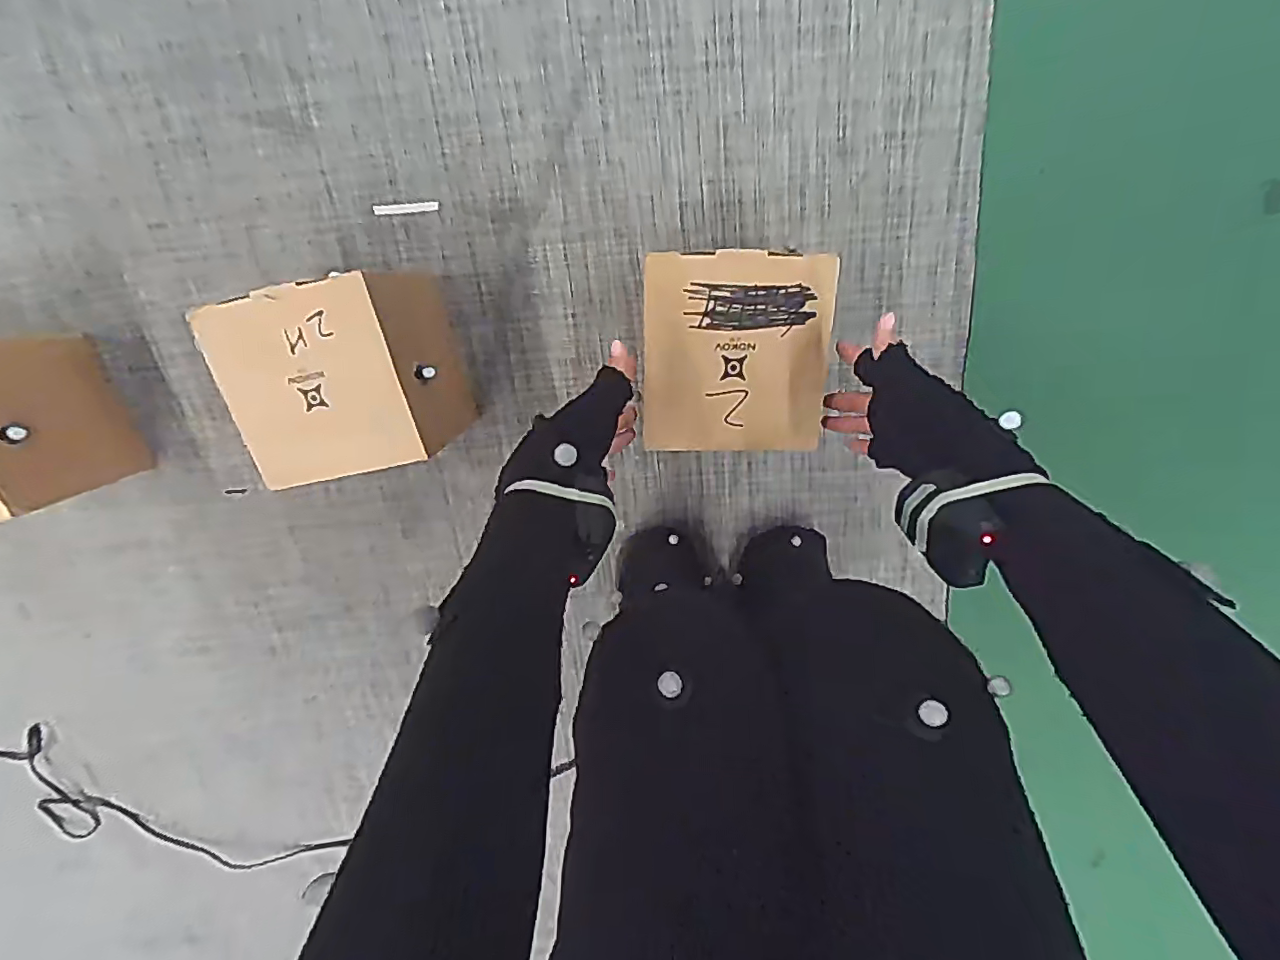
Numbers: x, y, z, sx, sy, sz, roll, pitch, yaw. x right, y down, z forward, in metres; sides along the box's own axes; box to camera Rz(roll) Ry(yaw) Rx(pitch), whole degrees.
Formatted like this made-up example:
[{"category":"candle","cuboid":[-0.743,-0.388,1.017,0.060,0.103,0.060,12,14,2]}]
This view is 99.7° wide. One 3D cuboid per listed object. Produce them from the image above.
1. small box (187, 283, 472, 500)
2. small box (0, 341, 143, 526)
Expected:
[{"category":"small box","cuboid":[-0.293,-0.100,0.561,0.168,0.176,0.179,-11,109,3]},{"category":"small box","cuboid":[-0.716,-0.048,0.585,0.168,0.176,0.179,-11,109,5]}]
